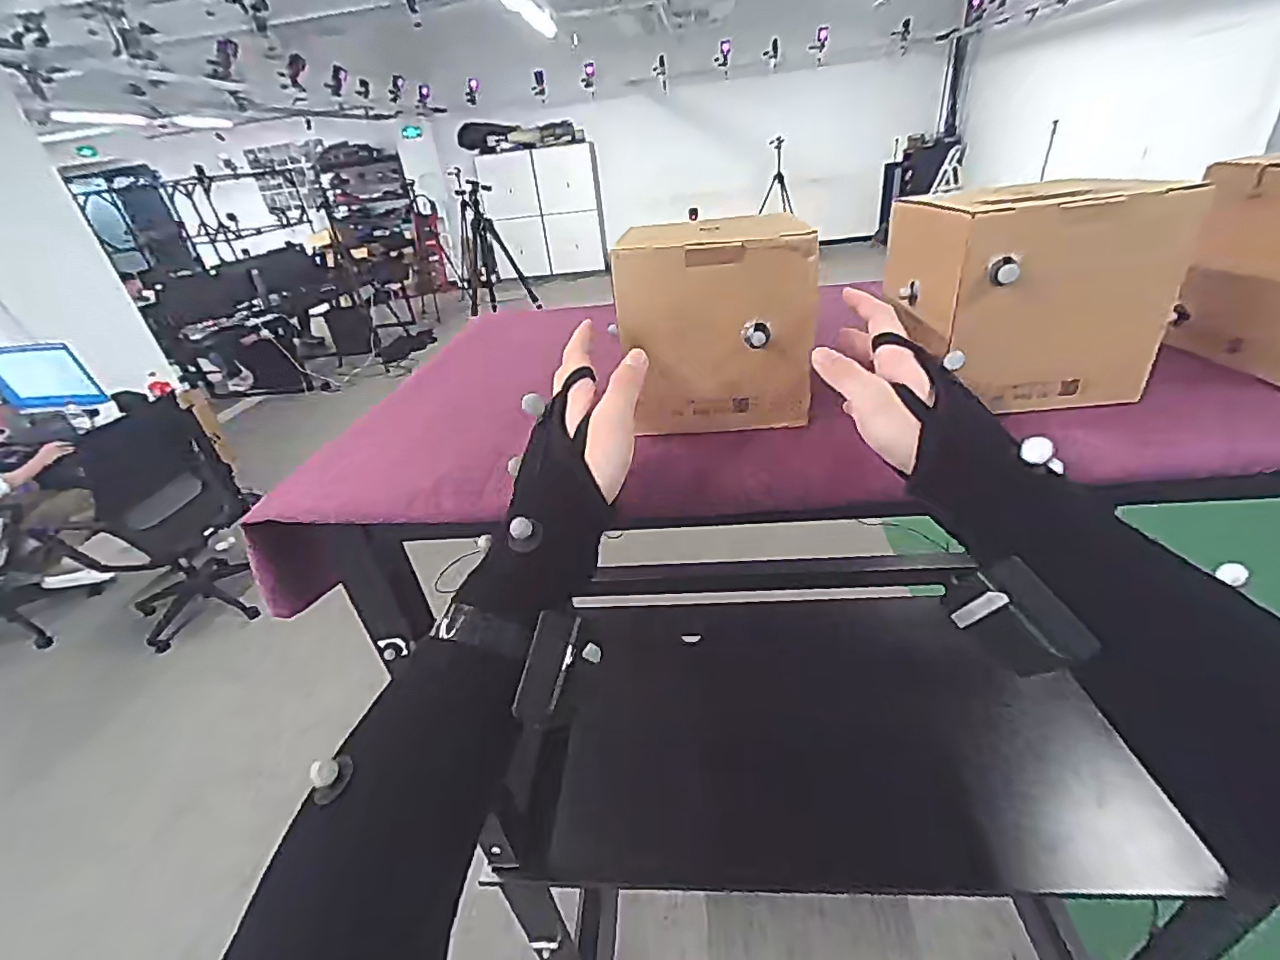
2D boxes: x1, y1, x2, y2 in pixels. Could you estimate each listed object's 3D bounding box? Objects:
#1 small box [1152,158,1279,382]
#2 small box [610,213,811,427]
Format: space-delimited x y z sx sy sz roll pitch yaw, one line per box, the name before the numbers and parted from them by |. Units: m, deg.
small box | 0.620 -0.193 0.485 0.179 0.176 0.168 -3 31 6
small box | 0.072 -0.159 0.542 0.168 0.176 0.179 -2 31 7
